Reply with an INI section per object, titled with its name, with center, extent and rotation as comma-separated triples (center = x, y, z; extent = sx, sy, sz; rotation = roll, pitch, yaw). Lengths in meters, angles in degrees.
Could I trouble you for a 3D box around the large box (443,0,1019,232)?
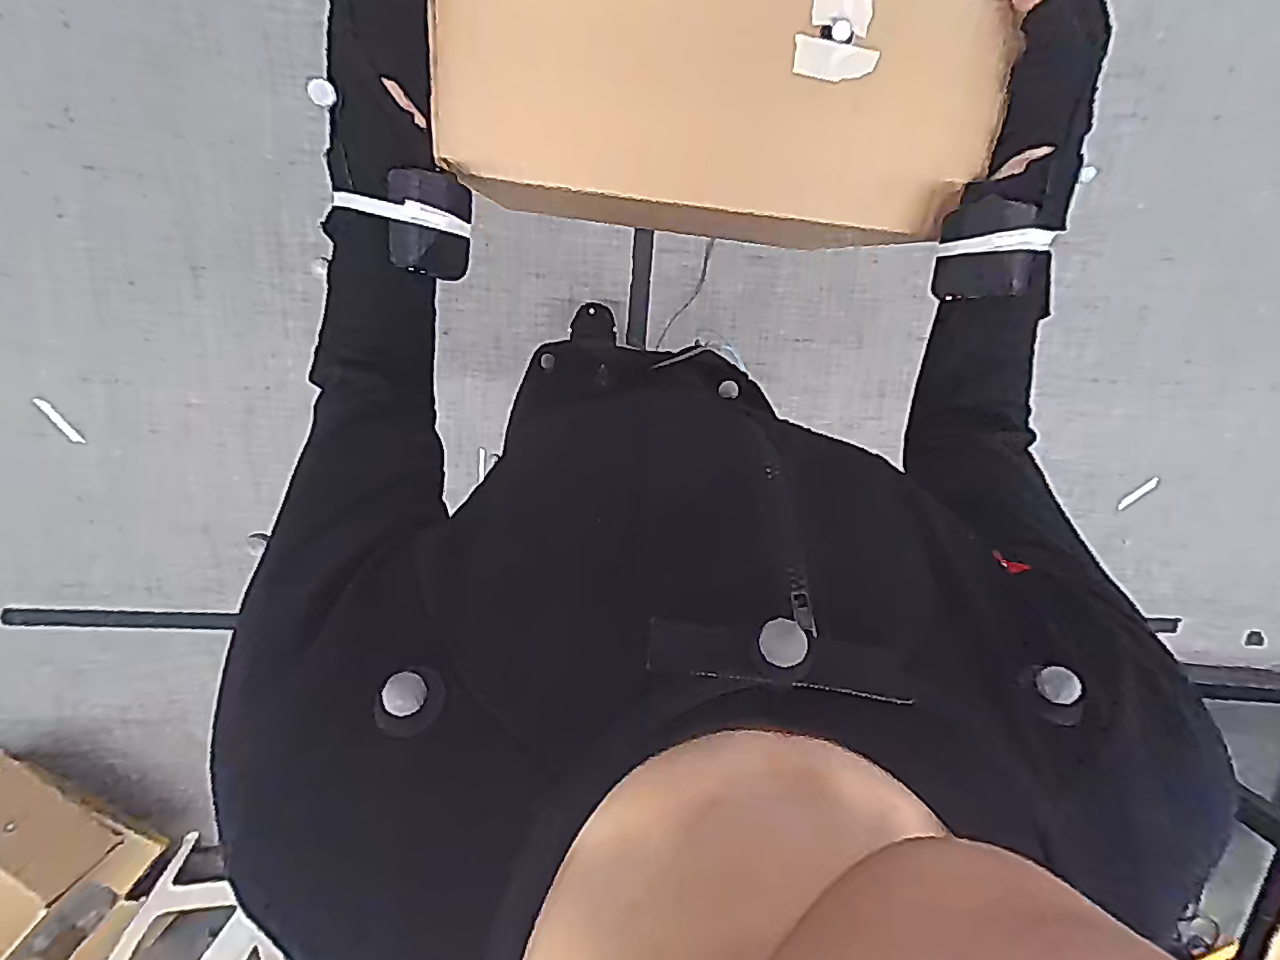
[large box]
center = 0.057, -0.418, 0.490
extent = 0.408, 0.320, 0.320
rotation = 4, 113, -8
